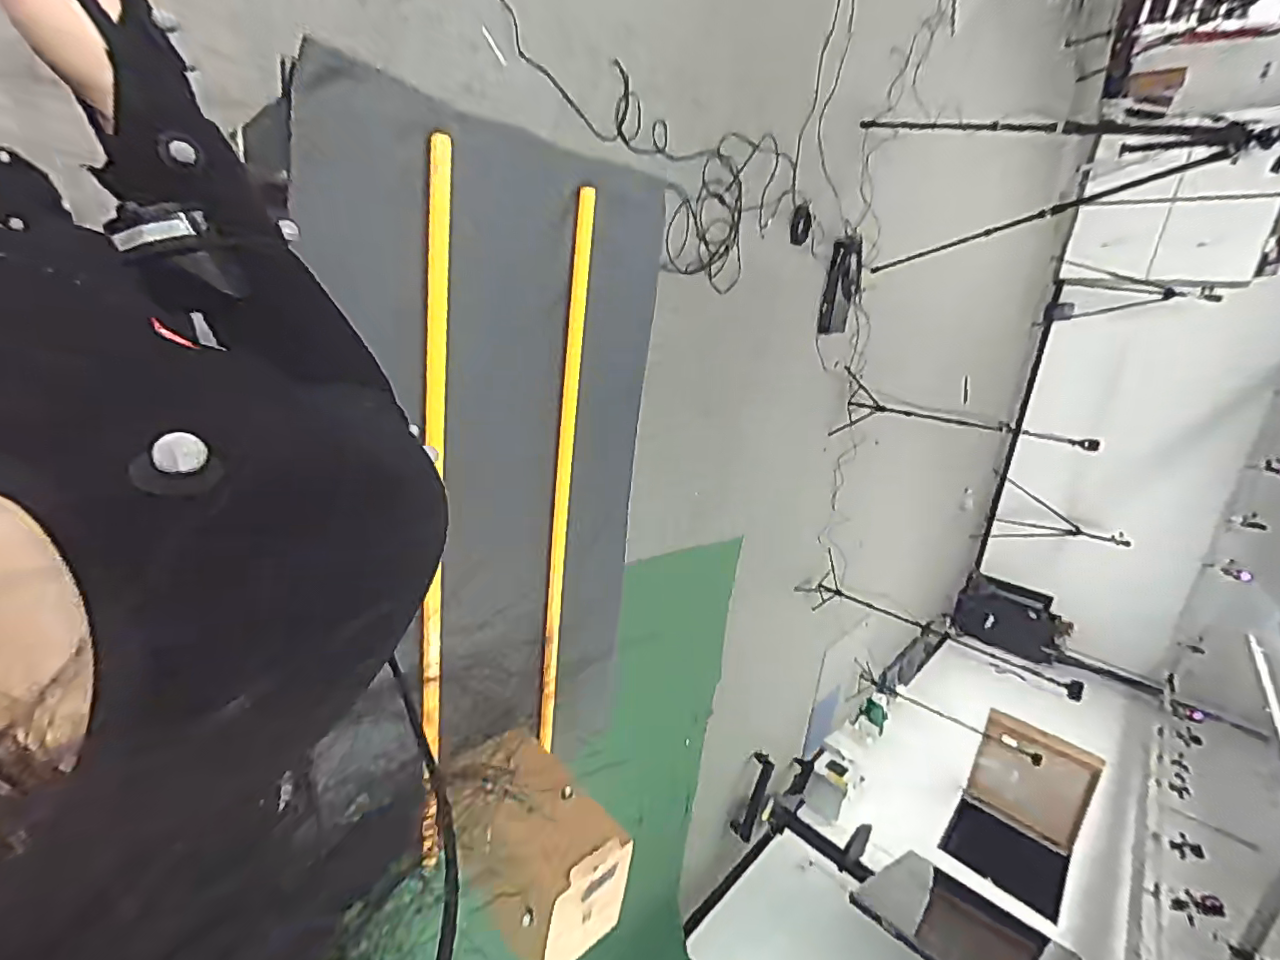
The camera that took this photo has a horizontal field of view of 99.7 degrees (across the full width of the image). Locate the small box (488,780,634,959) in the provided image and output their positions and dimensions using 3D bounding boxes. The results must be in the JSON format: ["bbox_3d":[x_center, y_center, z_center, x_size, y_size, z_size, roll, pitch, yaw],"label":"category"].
[{"bbox_3d":[-0.135,0.638,0.899,0.168,0.176,0.179,-3,107,-46],"label":"small box"}]
